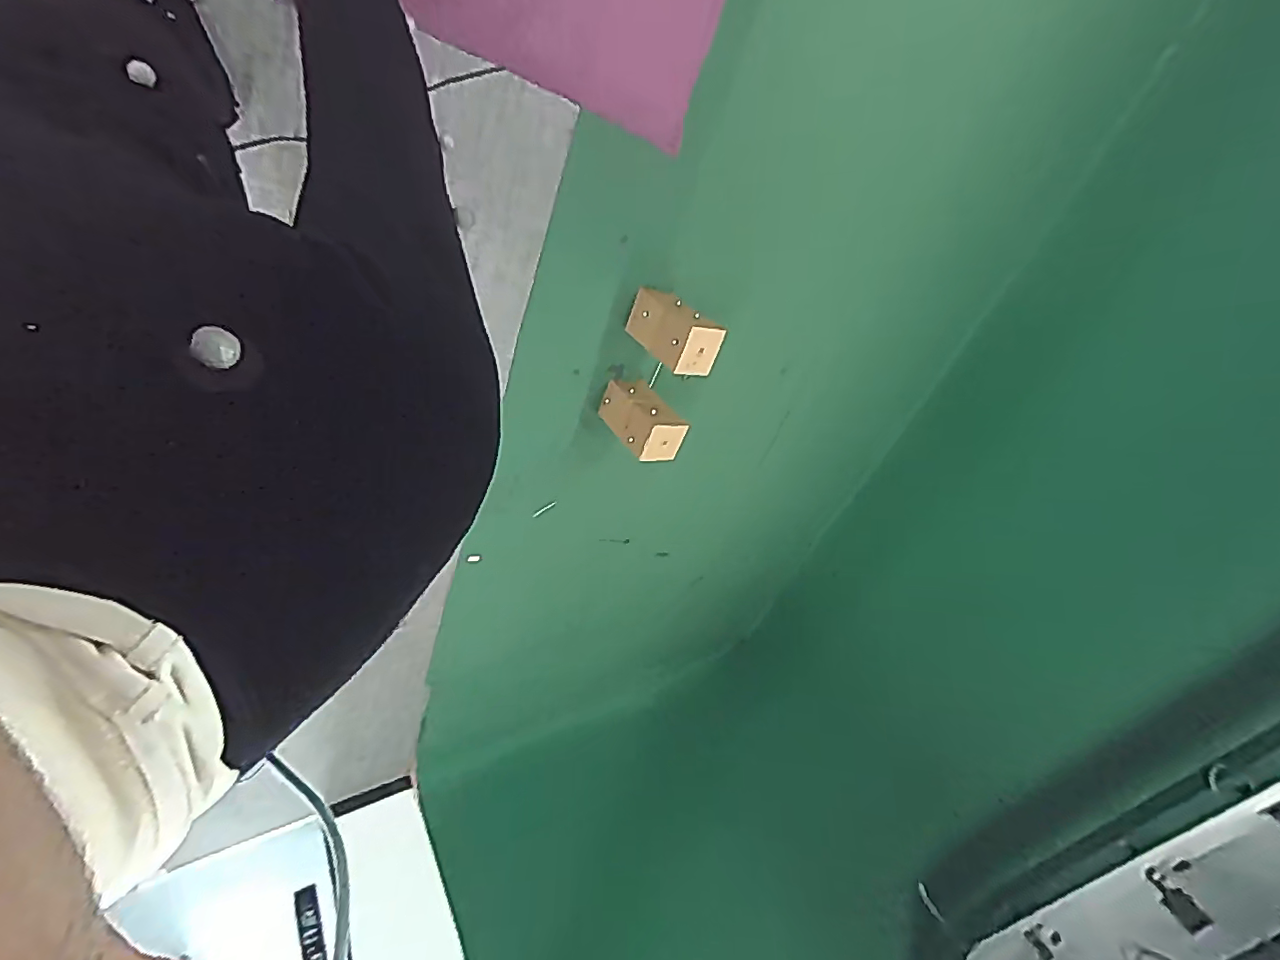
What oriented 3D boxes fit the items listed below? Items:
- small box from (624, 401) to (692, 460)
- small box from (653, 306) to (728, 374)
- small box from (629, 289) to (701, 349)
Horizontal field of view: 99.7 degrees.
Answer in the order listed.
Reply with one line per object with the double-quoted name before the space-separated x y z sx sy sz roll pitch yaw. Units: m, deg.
"small box" 0.062 -0.194 2.094 0.179 0.176 0.168 -5 132 -38
"small box" 0.170 -0.490 1.887 0.168 0.176 0.179 -6 131 -38
"small box" 0.086 -0.588 1.989 0.179 0.176 0.168 -6 131 -39
